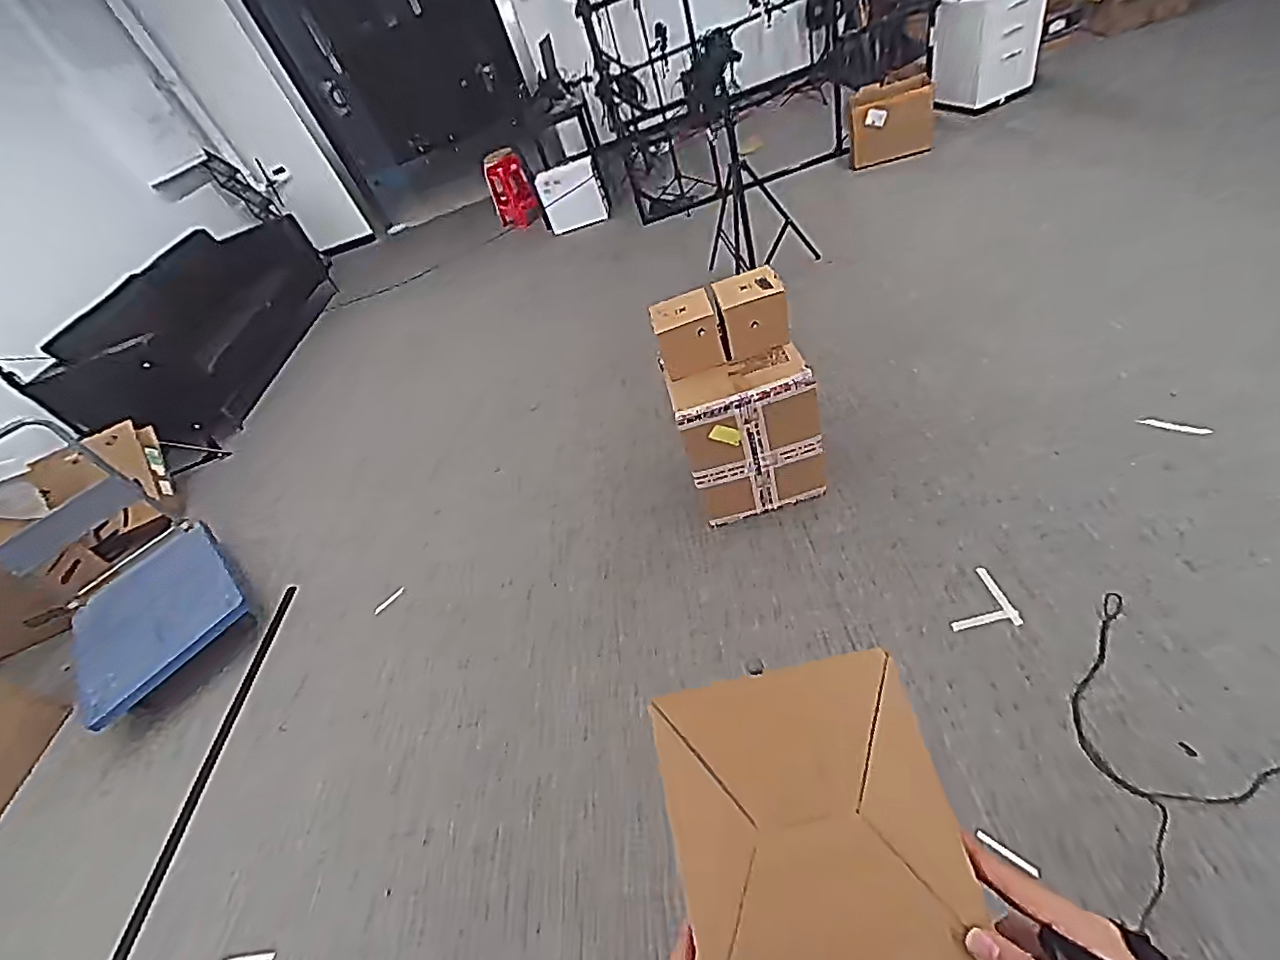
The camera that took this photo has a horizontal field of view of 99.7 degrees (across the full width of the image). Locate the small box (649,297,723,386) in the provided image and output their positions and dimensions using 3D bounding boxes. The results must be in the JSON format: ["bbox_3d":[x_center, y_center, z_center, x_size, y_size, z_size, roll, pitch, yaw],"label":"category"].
[{"bbox_3d":[0.140,-0.409,1.610,0.179,0.176,0.168,-18,43,10],"label":"small box"}]

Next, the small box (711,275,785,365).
[{"bbox_3d":[0.321,-0.466,1.588,0.179,0.176,0.168,-16,44,7],"label":"small box"}]
